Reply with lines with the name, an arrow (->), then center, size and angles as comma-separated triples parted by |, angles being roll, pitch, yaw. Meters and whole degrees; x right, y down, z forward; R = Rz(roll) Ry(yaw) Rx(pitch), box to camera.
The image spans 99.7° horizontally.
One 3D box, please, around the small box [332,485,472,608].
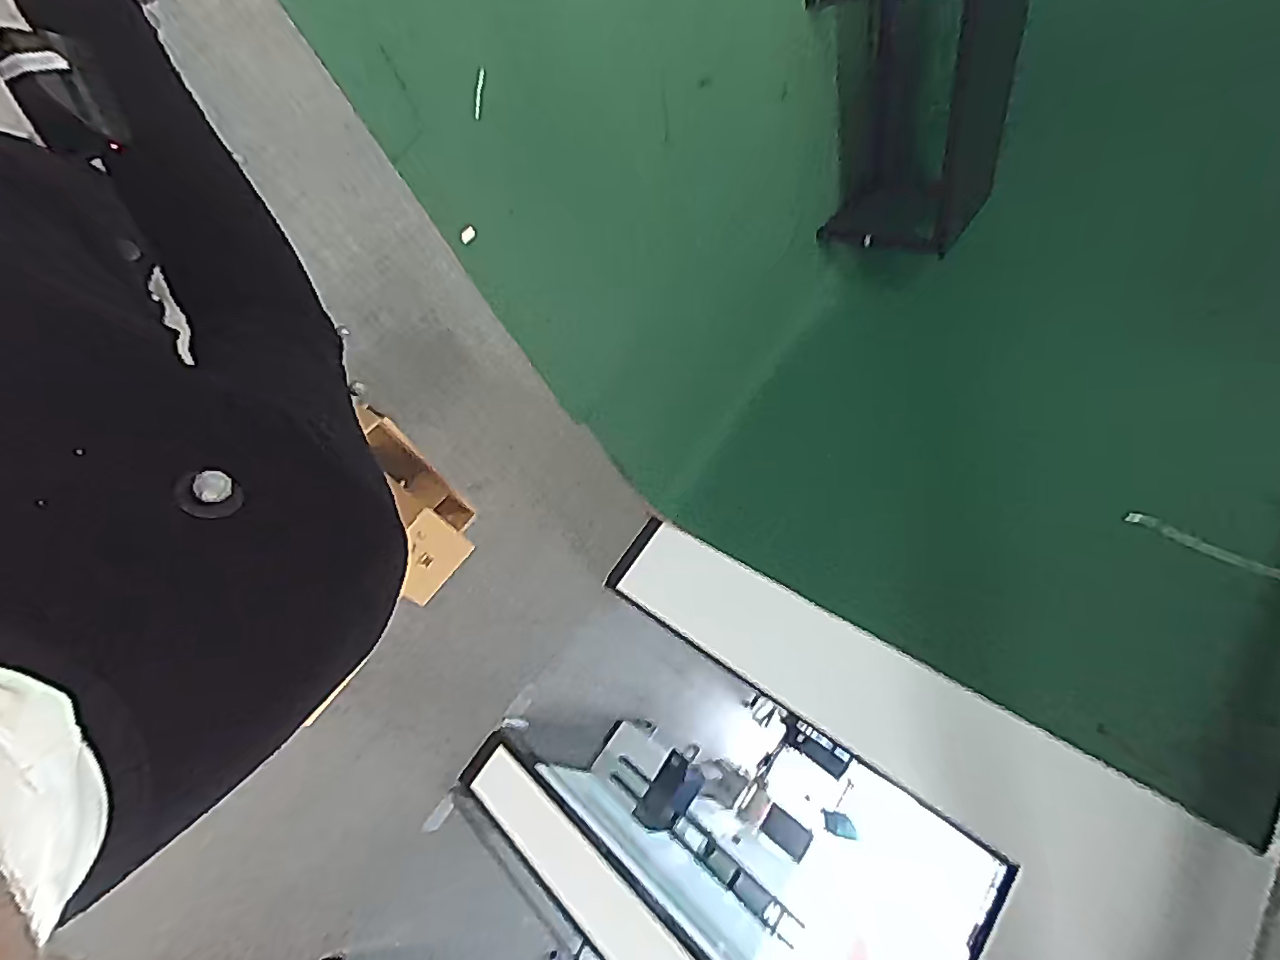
small box -> -0.502, 0.136, 1.144 | 0.168, 0.176, 0.179 | -52, 144, -17
